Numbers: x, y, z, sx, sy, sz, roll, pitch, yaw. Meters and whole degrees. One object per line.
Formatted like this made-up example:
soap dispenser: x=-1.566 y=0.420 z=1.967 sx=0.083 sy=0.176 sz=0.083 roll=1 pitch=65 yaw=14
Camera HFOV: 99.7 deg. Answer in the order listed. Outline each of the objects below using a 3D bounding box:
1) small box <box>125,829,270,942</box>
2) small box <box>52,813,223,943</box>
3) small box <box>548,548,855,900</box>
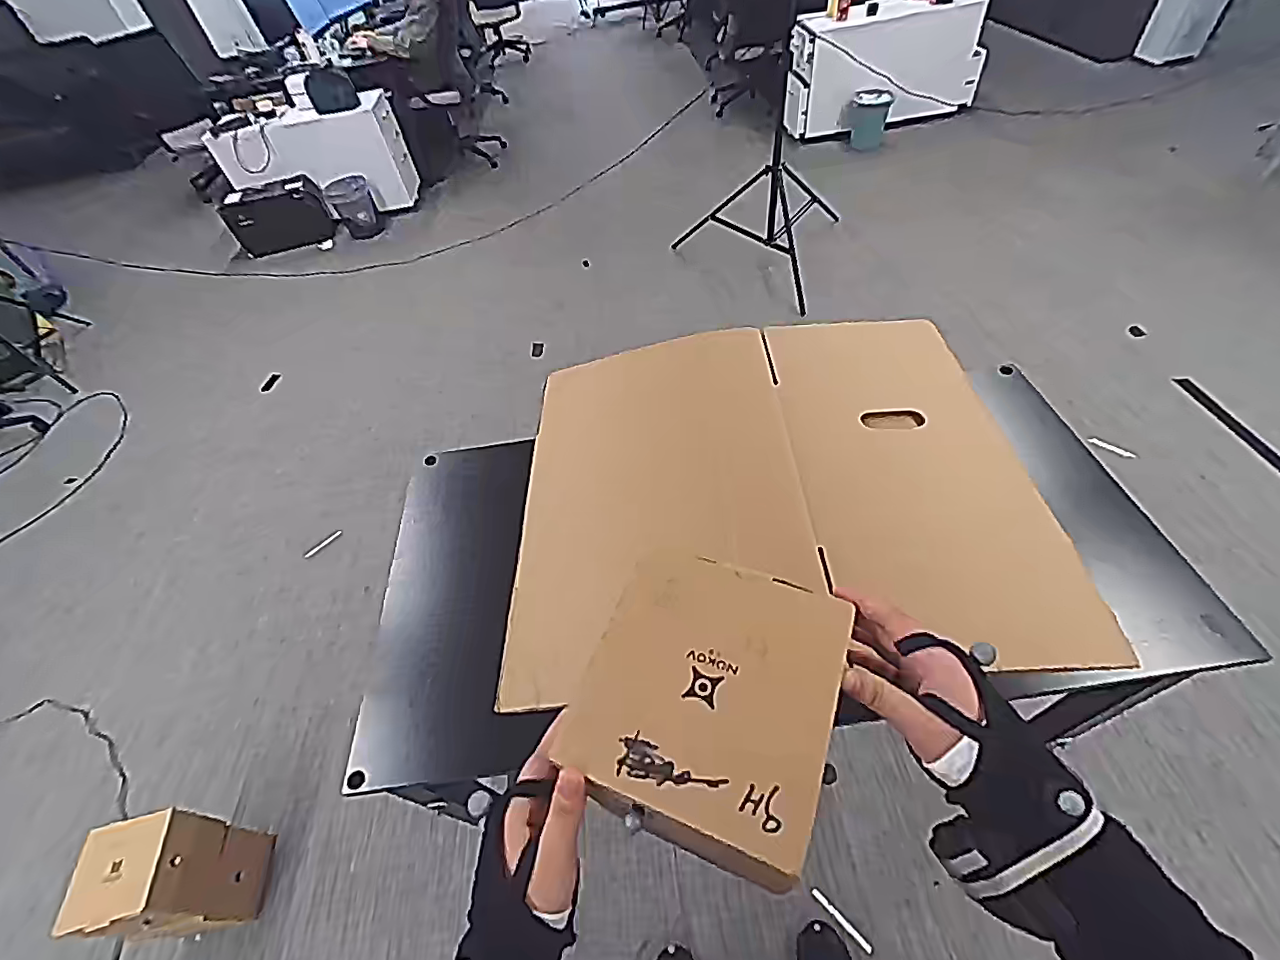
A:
small box: x=-0.981 y=0.917 z=1.222 sx=0.168 sy=0.176 sz=0.179 roll=-12 pitch=50 yaw=-1
small box: x=-1.001 y=0.810 z=1.101 sx=0.168 sy=0.176 sz=0.179 roll=-14 pitch=49 yaw=-4
small box: x=0.057 y=0.188 z=0.424 sx=0.168 sy=0.176 sz=0.179 roll=13 pitch=52 yaw=23
